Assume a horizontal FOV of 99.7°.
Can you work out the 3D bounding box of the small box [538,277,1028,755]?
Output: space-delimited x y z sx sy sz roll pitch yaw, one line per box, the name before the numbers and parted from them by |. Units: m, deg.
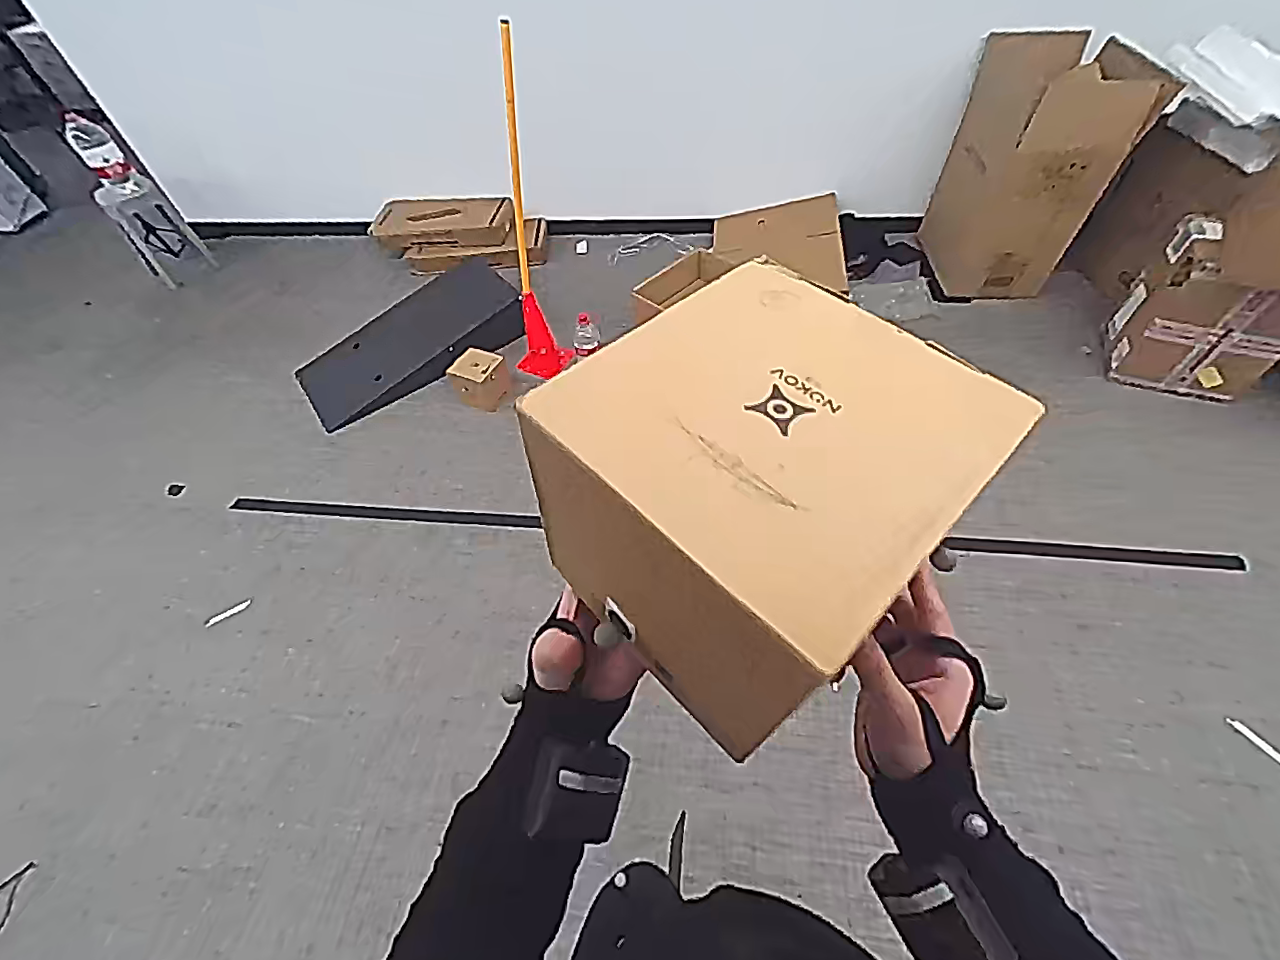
small box | 0.065 0.023 0.314 0.168 0.176 0.179 39 62 24
